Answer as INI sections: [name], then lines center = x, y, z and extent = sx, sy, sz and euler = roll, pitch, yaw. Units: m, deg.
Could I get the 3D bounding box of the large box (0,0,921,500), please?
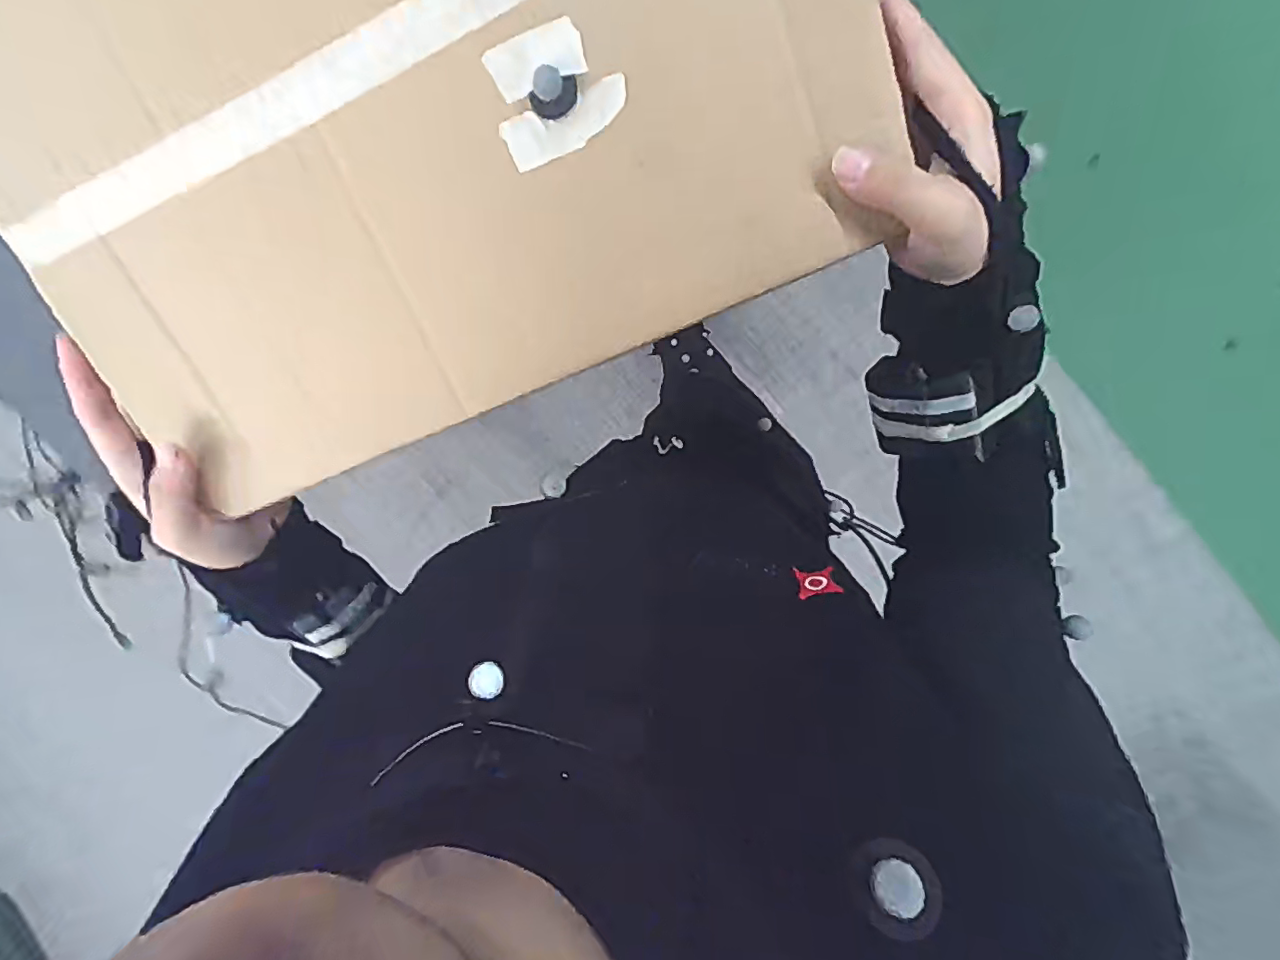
[large box]
center = -0.100, -0.235, 0.390
extent = 0.408, 0.320, 0.320
euler = -21, 106, 7
